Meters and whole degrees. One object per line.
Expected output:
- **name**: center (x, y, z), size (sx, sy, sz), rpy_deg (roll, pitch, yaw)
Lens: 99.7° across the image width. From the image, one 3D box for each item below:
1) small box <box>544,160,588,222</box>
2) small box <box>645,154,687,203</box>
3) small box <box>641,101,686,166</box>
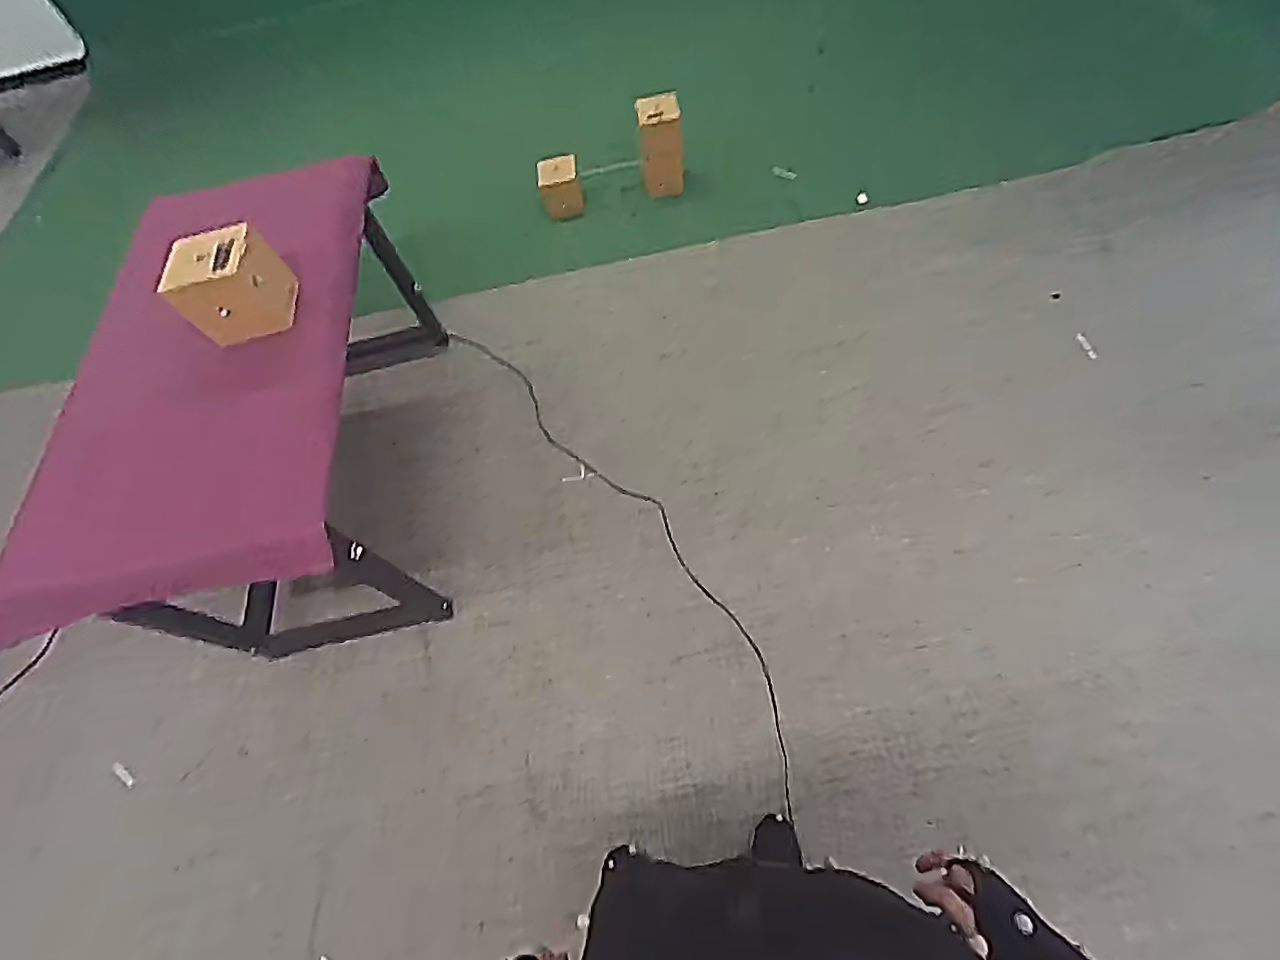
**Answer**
- **small box**: center (-0.334, -1.302, 2.443), size (0.168, 0.176, 0.179), rpy_deg (-10, 61, 3)
- **small box**: center (0.116, -1.380, 2.428), size (0.168, 0.176, 0.179), rpy_deg (-9, 62, 2)
- **small box**: center (0.100, -1.455, 2.284), size (0.168, 0.176, 0.179), rpy_deg (-8, 61, 2)
